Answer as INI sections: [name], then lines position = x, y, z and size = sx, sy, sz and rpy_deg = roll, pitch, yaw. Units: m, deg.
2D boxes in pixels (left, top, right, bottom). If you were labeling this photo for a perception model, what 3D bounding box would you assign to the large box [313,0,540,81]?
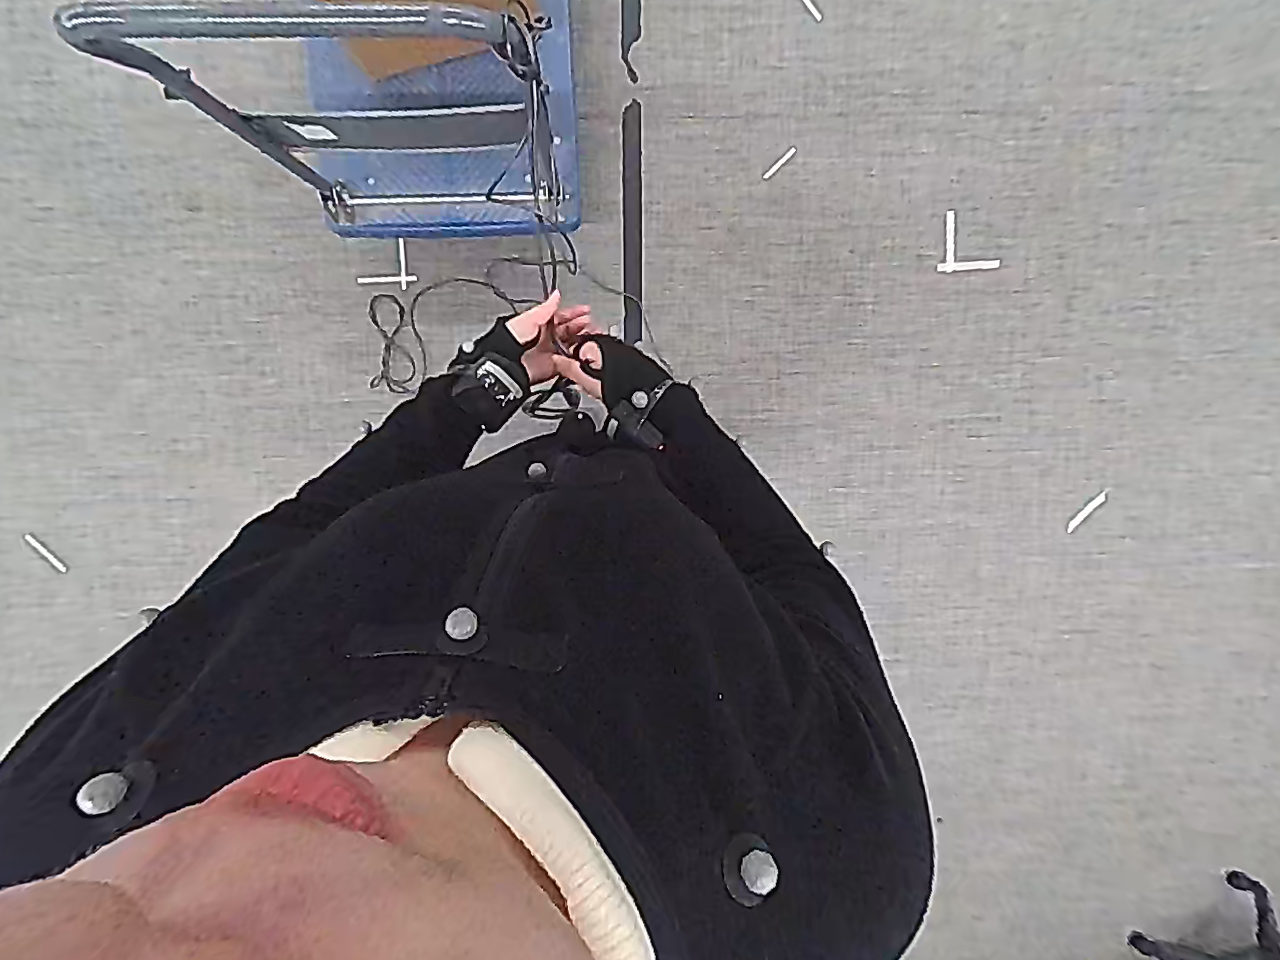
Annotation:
[large box]
position = -0.441, -1.056, 1.027
size = 0.408, 0.320, 0.320
rpy_deg = -17, 98, -1
